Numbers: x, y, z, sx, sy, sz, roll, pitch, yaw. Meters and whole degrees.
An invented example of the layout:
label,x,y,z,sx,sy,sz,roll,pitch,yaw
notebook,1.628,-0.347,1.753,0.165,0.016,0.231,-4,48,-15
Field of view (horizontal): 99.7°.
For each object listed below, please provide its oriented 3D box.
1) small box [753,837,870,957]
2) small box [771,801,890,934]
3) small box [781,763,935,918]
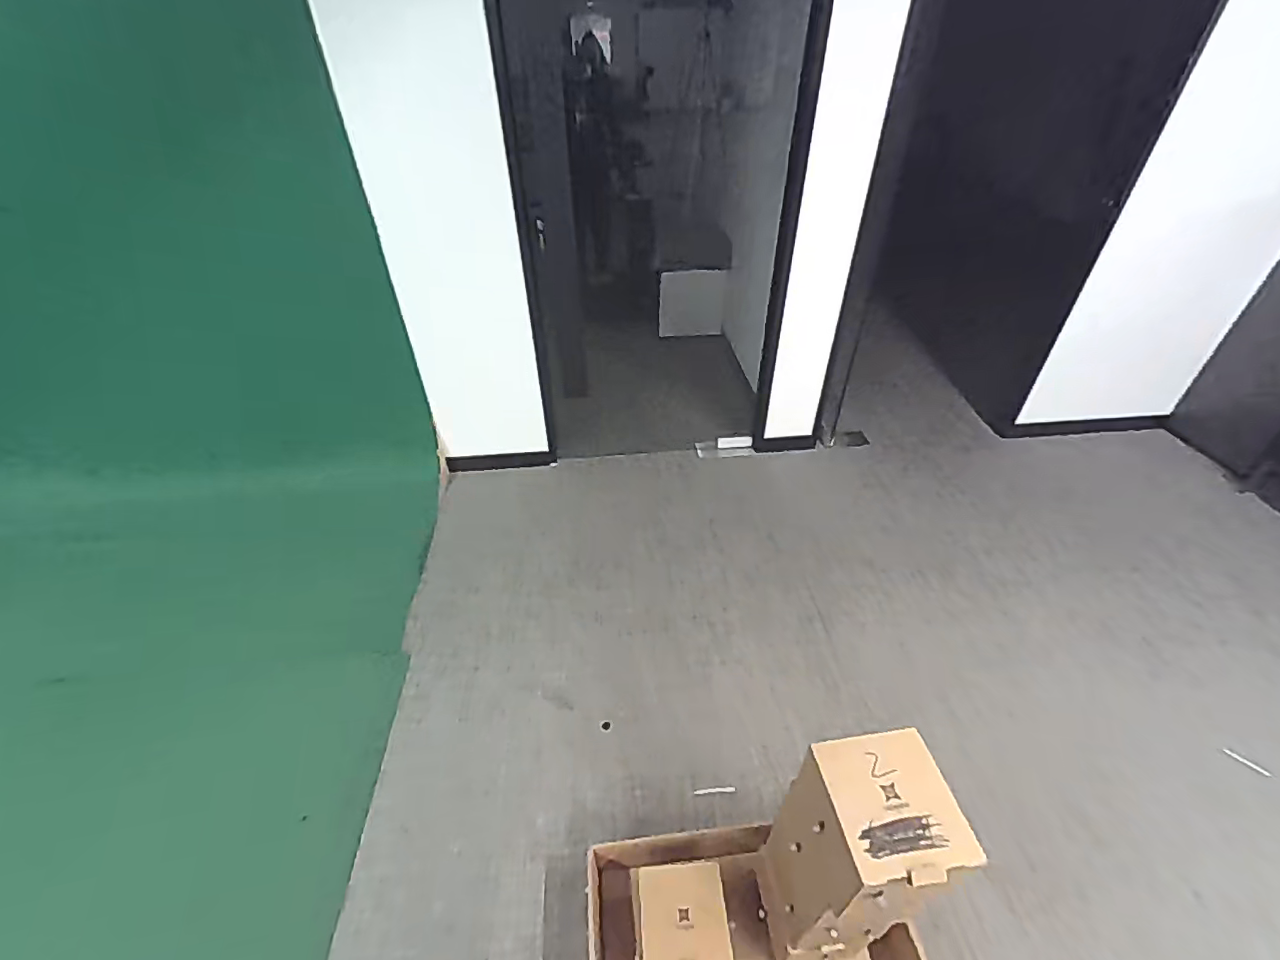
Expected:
label,x,y,z,sx,sy,sz,roll,pitch,yaw
small box,0.341,0.848,1.111,0.168,0.176,0.179,-9,40,-6
small box,0.350,0.707,0.996,0.168,0.176,0.179,-5,40,-4
small box,0.345,0.599,0.896,0.168,0.176,0.179,-4,40,-4
